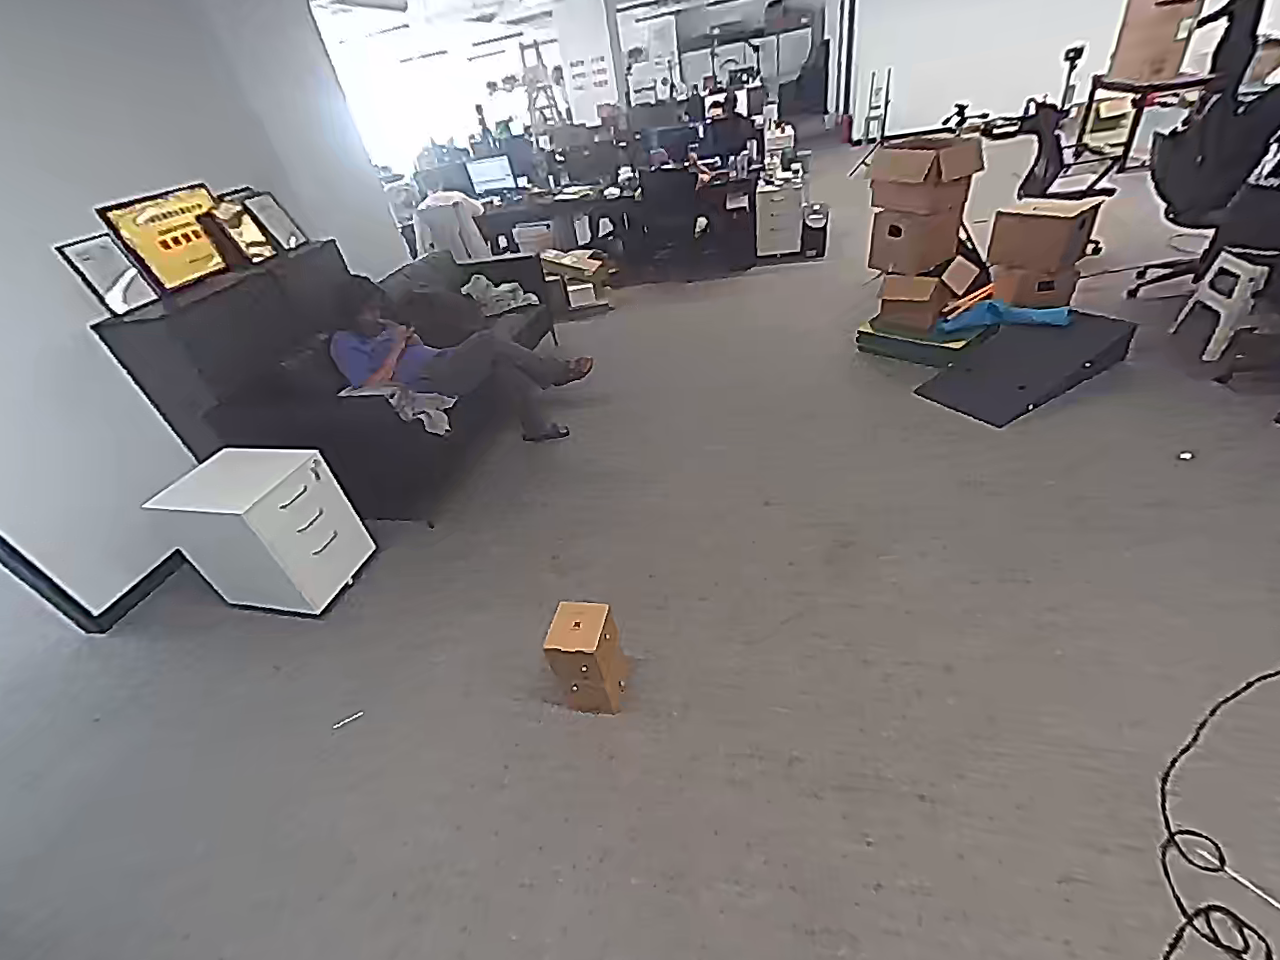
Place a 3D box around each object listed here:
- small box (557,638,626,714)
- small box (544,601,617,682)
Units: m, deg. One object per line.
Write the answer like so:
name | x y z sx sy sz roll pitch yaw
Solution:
small box | -0.149 0.631 1.765 0.168 0.176 0.179 1 37 16
small box | -0.175 0.501 1.672 0.168 0.176 0.179 0 36 14
